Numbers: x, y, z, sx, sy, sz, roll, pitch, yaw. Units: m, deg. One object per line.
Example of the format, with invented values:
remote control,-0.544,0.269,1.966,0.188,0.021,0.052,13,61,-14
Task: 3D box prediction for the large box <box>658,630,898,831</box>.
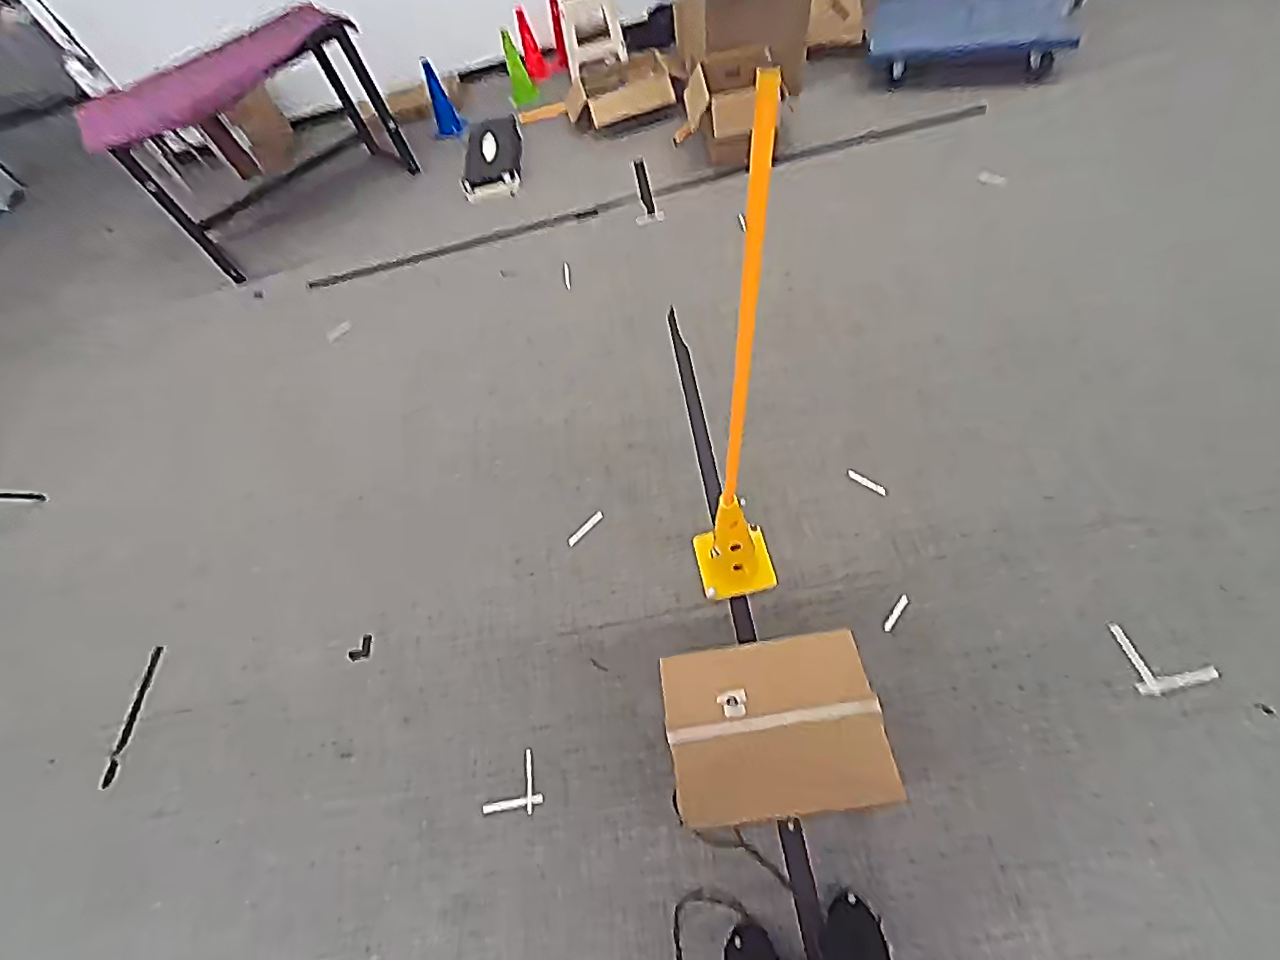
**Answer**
large box,0.277,0.556,1.179,0.408,0.320,0.320,-12,55,5
